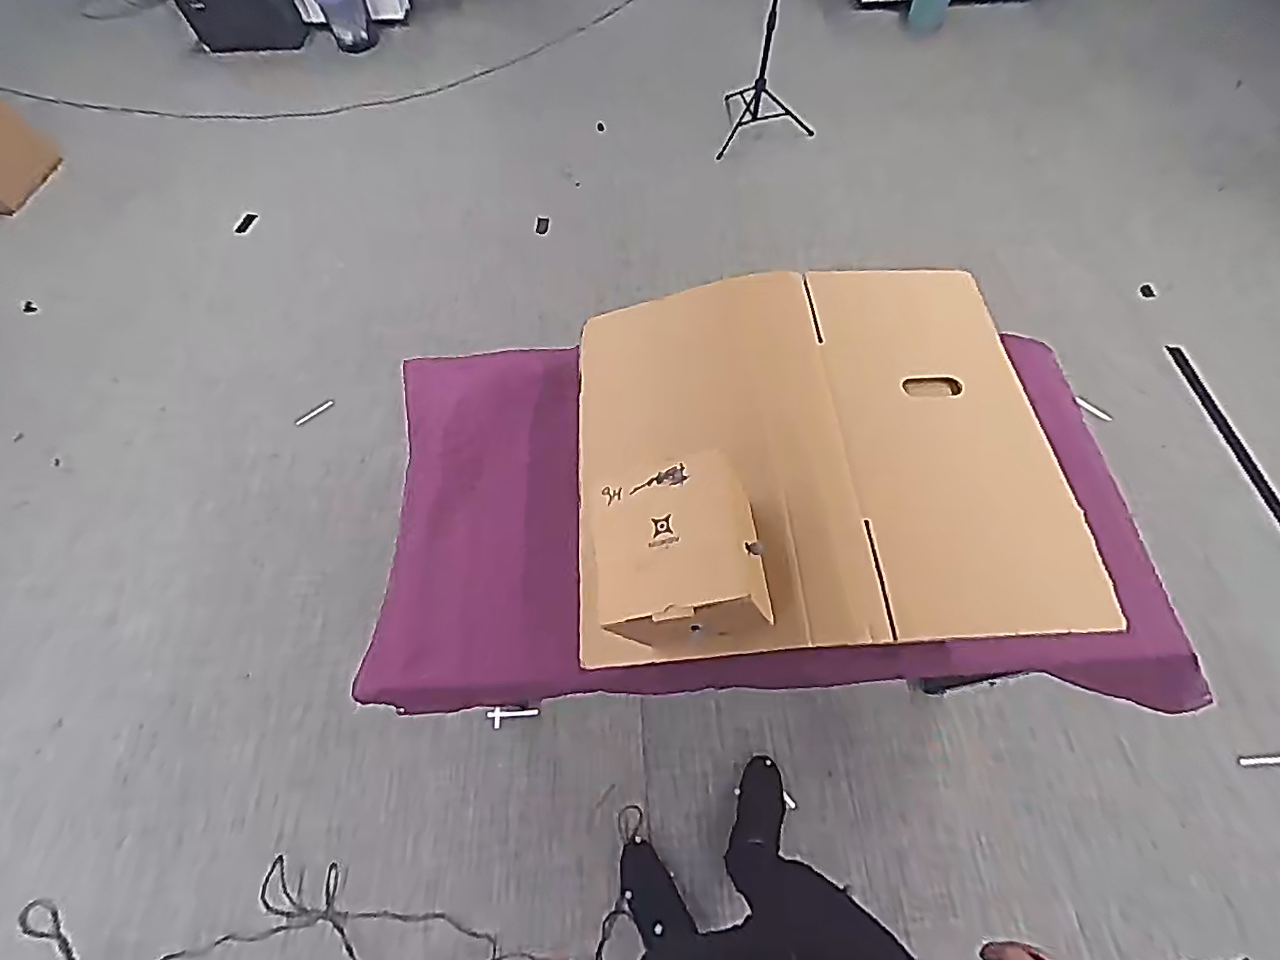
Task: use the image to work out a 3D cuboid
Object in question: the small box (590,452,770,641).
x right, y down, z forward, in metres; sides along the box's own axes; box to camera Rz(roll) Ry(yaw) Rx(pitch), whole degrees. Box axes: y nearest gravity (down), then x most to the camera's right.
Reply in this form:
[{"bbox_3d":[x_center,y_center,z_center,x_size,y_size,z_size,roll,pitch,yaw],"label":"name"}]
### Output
[{"bbox_3d":[0.053,0.093,0.659,0.168,0.176,0.179,-15,63,15],"label":"small box"}]
